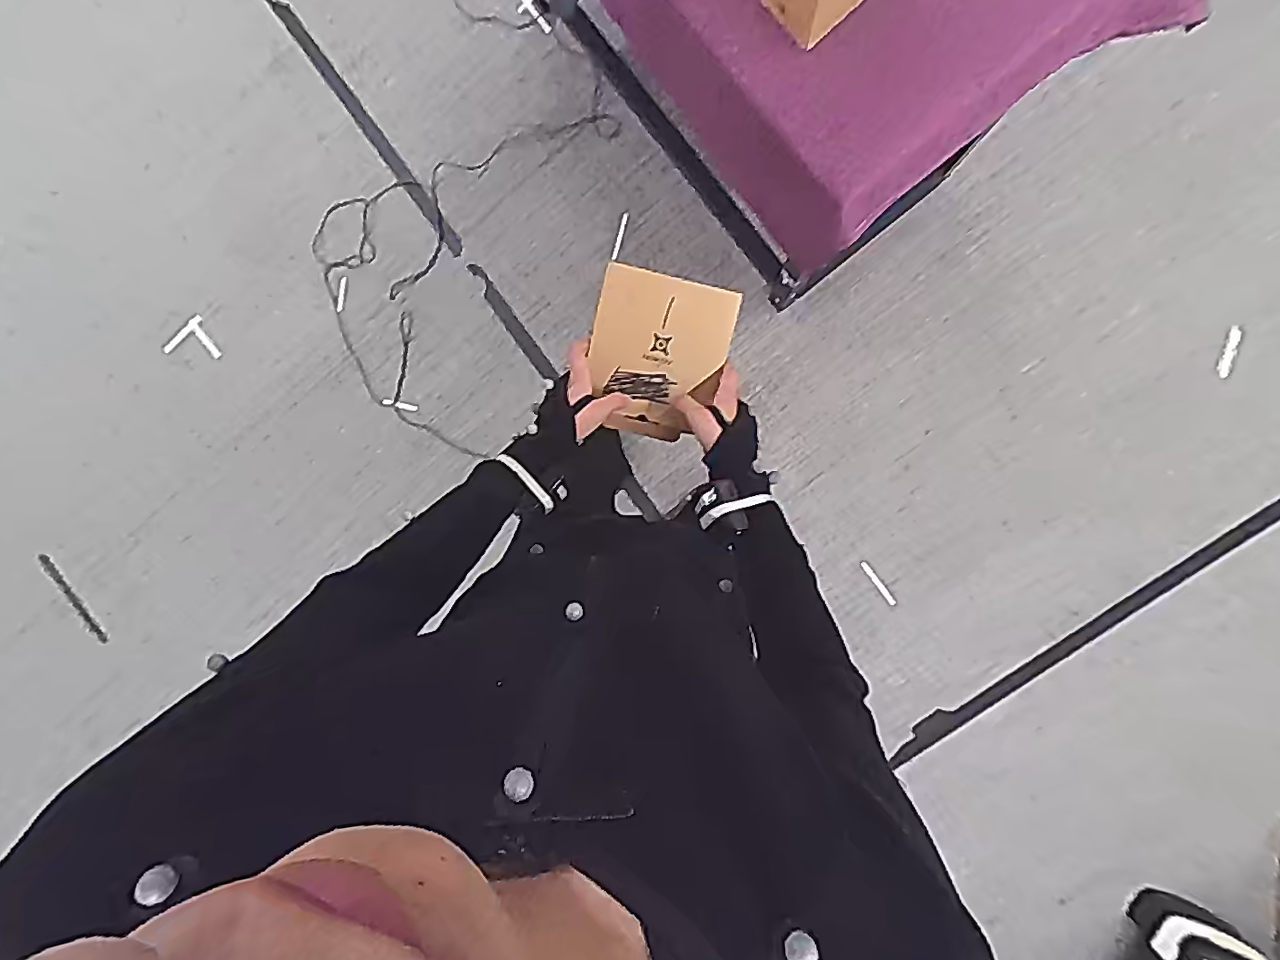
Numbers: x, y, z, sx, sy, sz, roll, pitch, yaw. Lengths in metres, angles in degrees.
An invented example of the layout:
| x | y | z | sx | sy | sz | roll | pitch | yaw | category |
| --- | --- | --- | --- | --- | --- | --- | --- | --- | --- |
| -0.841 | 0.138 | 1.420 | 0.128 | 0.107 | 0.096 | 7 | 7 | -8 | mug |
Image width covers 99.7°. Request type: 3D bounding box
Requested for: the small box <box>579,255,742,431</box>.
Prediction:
| x | y | z | sx | sy | sz | roll | pitch | yaw | category |
| --- | --- | --- | --- | --- | --- | --- | --- | --- | --- |
| 0.025 | -0.178 | 0.728 | 0.168 | 0.176 | 0.179 | 13 | 101 | -2 | small box |

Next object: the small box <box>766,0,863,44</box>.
| x | y | z | sx | sy | sz | roll | pitch | yaw | category |
| --- | --- | --- | --- | --- | --- | --- | --- | --- | --- |
| 0.264 | -0.773 | 0.741 | 0.179 | 0.176 | 0.168 | -40 | 88 | 7 | small box |
